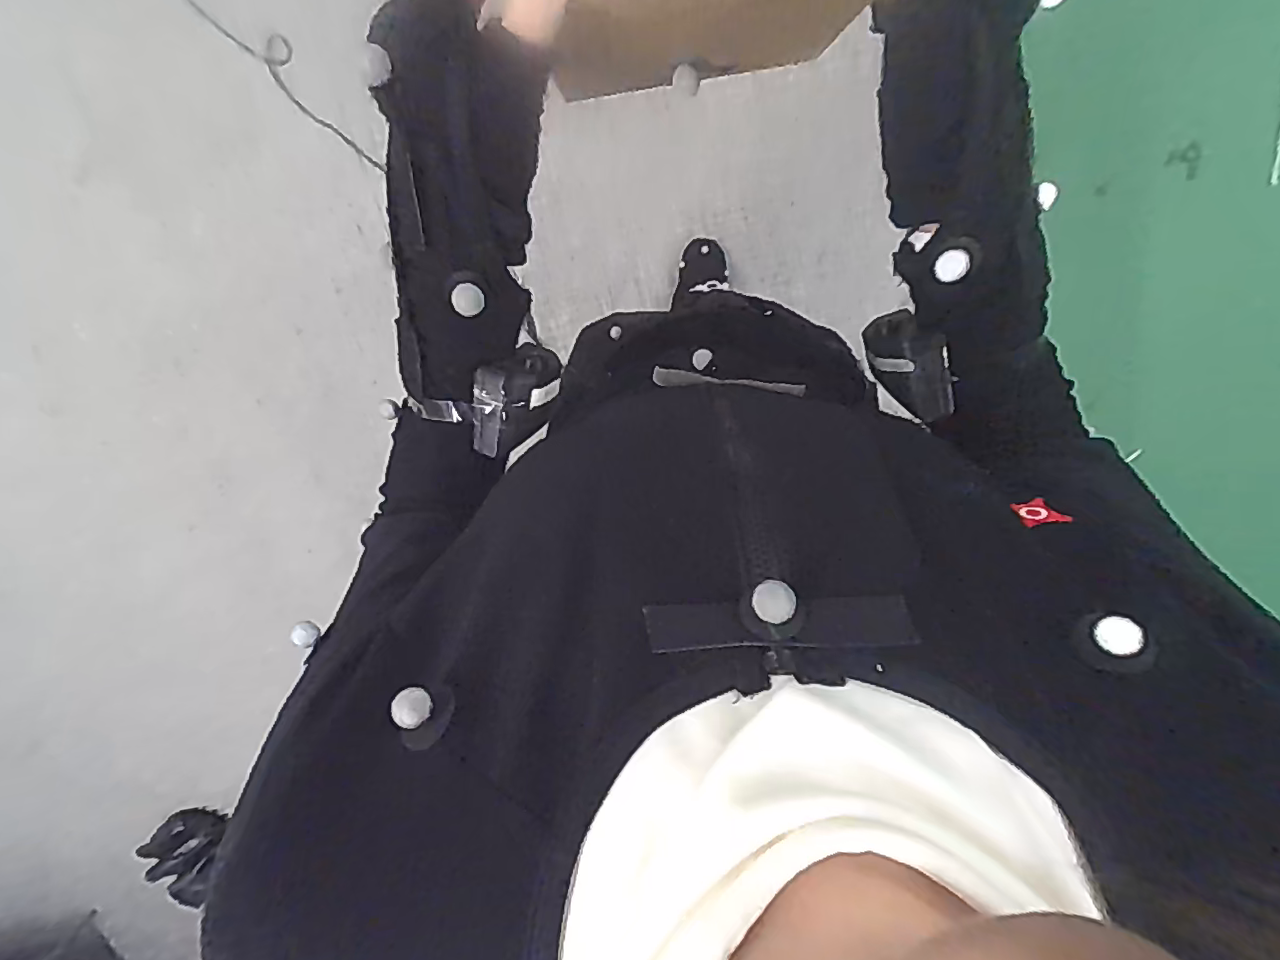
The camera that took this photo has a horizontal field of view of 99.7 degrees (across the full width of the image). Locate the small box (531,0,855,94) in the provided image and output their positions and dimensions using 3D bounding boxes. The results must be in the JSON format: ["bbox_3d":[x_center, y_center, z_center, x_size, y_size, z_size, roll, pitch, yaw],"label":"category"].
[{"bbox_3d":[0.018,-0.307,0.241,0.168,0.176,0.179,-7,113,4],"label":"small box"}]
